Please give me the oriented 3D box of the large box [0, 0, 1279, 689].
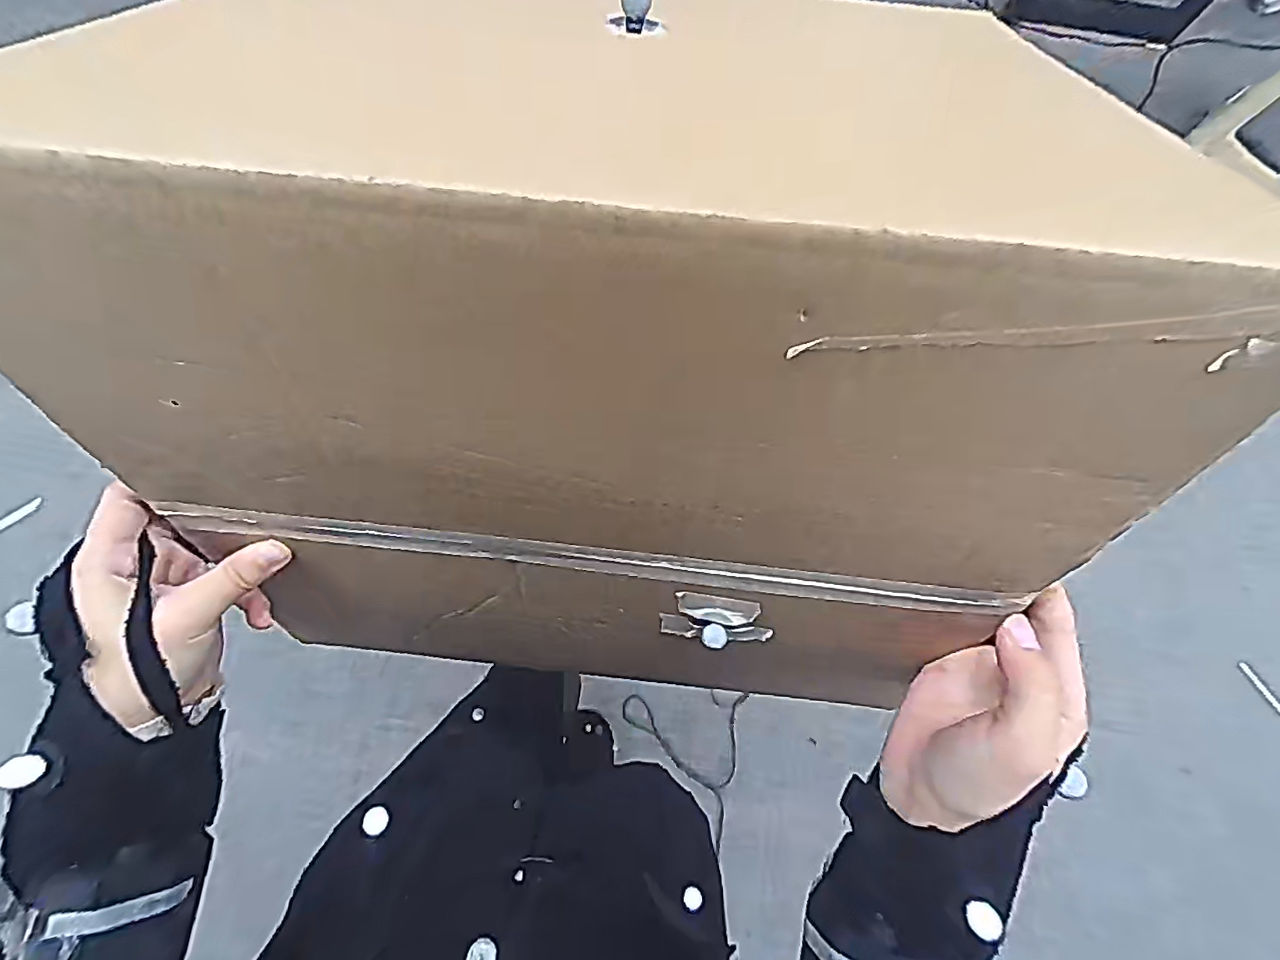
[{"bbox_3d":[-0.014,-0.085,0.356,0.408,0.320,0.320,5,51,1],"label":"large box"}]
